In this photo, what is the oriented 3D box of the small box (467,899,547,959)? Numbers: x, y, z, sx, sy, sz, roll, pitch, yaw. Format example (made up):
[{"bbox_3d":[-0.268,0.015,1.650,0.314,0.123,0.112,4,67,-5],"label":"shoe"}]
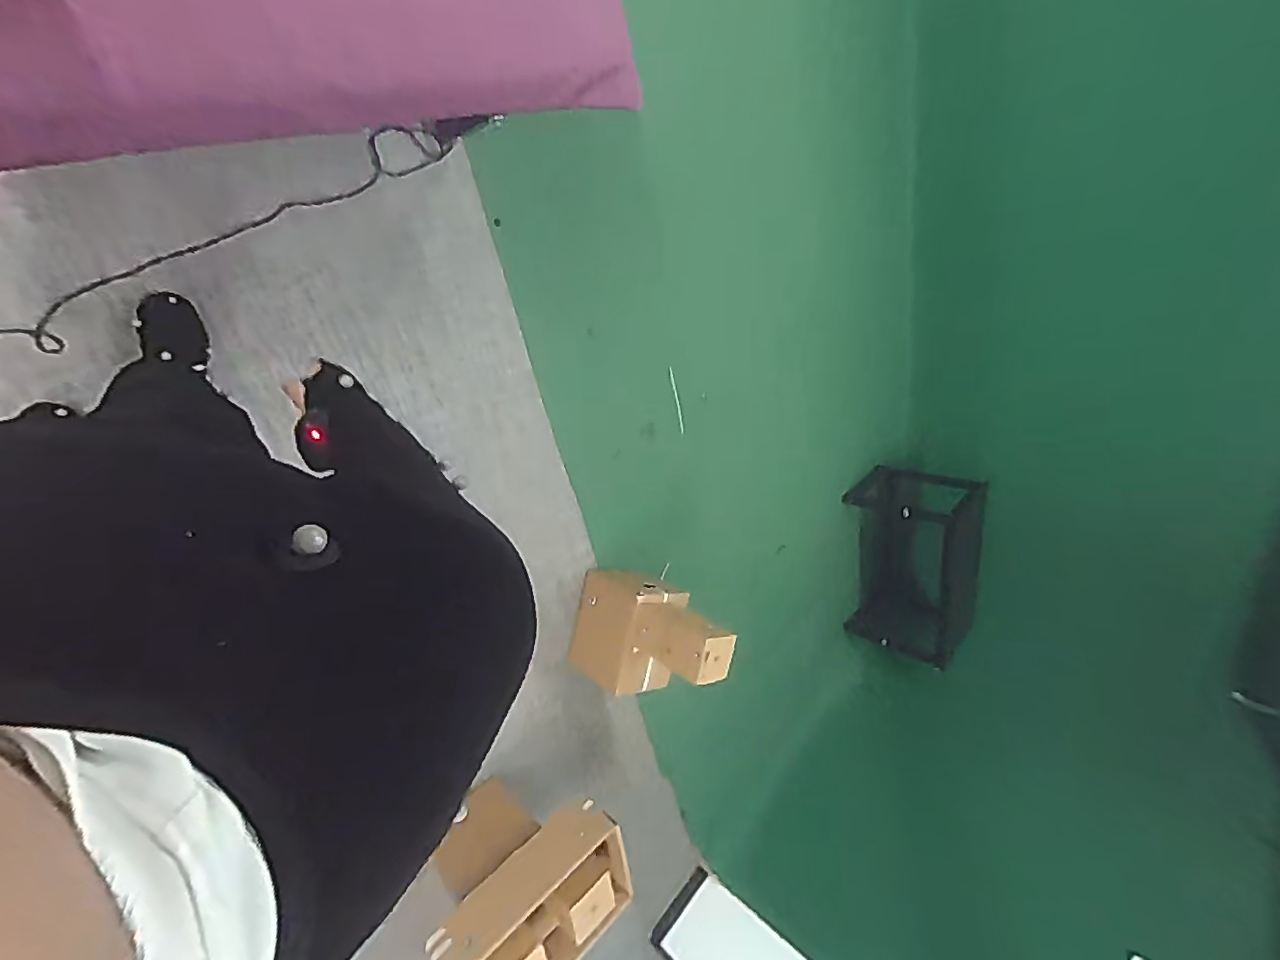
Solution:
[{"bbox_3d":[-0.402,1.442,1.647,0.168,0.176,0.179,-26,117,-38],"label":"small box"}]

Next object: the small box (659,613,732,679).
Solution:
[{"bbox_3d":[0.195,0.580,1.920,0.179,0.176,0.168,9,95,-46],"label":"small box"}]

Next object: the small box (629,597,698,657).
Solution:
[{"bbox_3d":[0.089,0.549,2.042,0.179,0.176,0.168,10,94,-45],"label":"small box"}]
